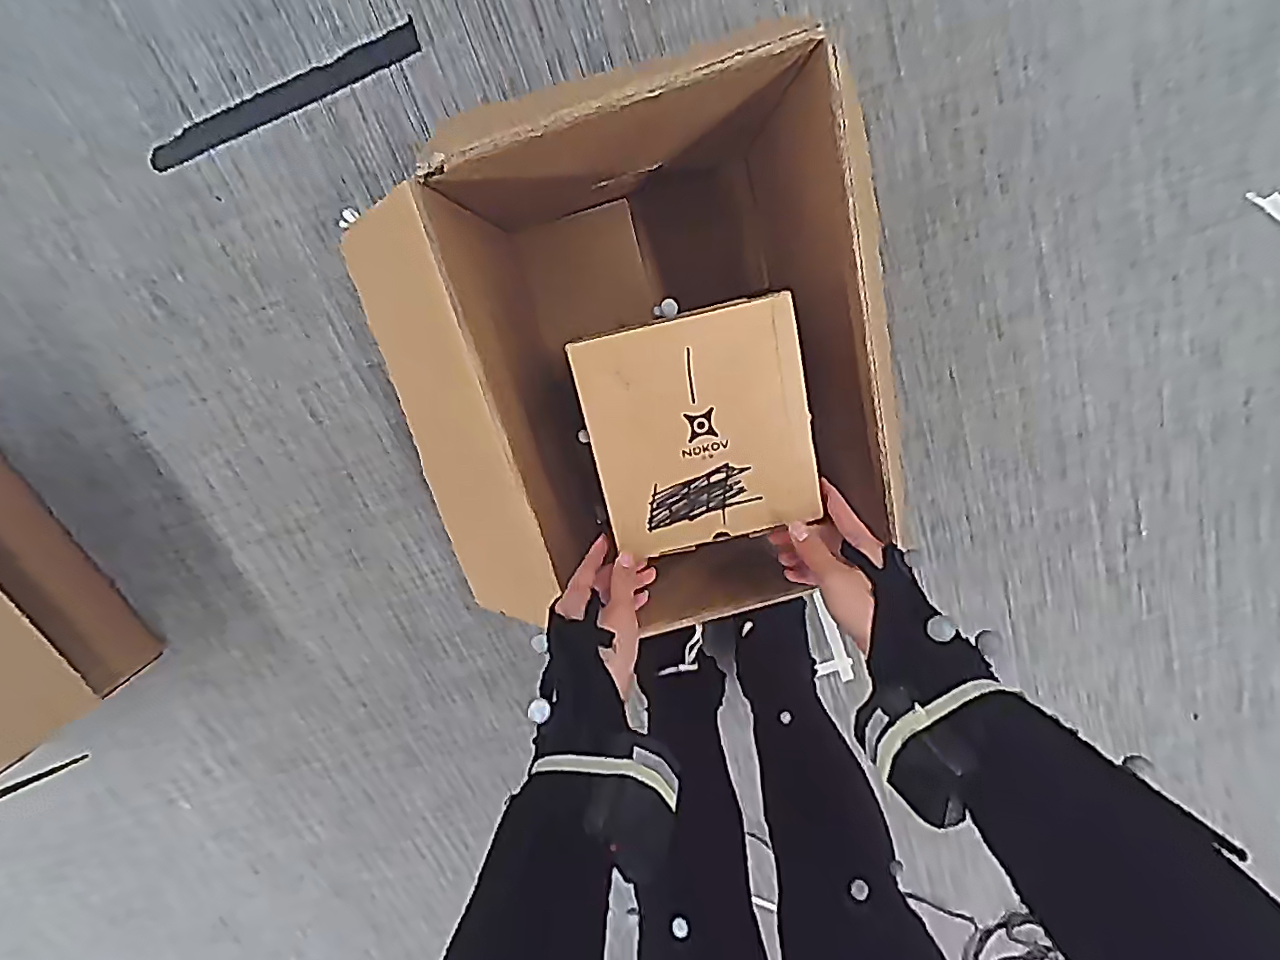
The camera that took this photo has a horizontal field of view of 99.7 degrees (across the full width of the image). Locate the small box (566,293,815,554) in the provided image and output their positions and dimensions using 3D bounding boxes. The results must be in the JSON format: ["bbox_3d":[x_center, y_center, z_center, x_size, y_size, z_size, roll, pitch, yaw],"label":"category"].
[{"bbox_3d":[0.041,-0.059,0.486,0.168,0.176,0.179,-13,105,1],"label":"small box"}]
